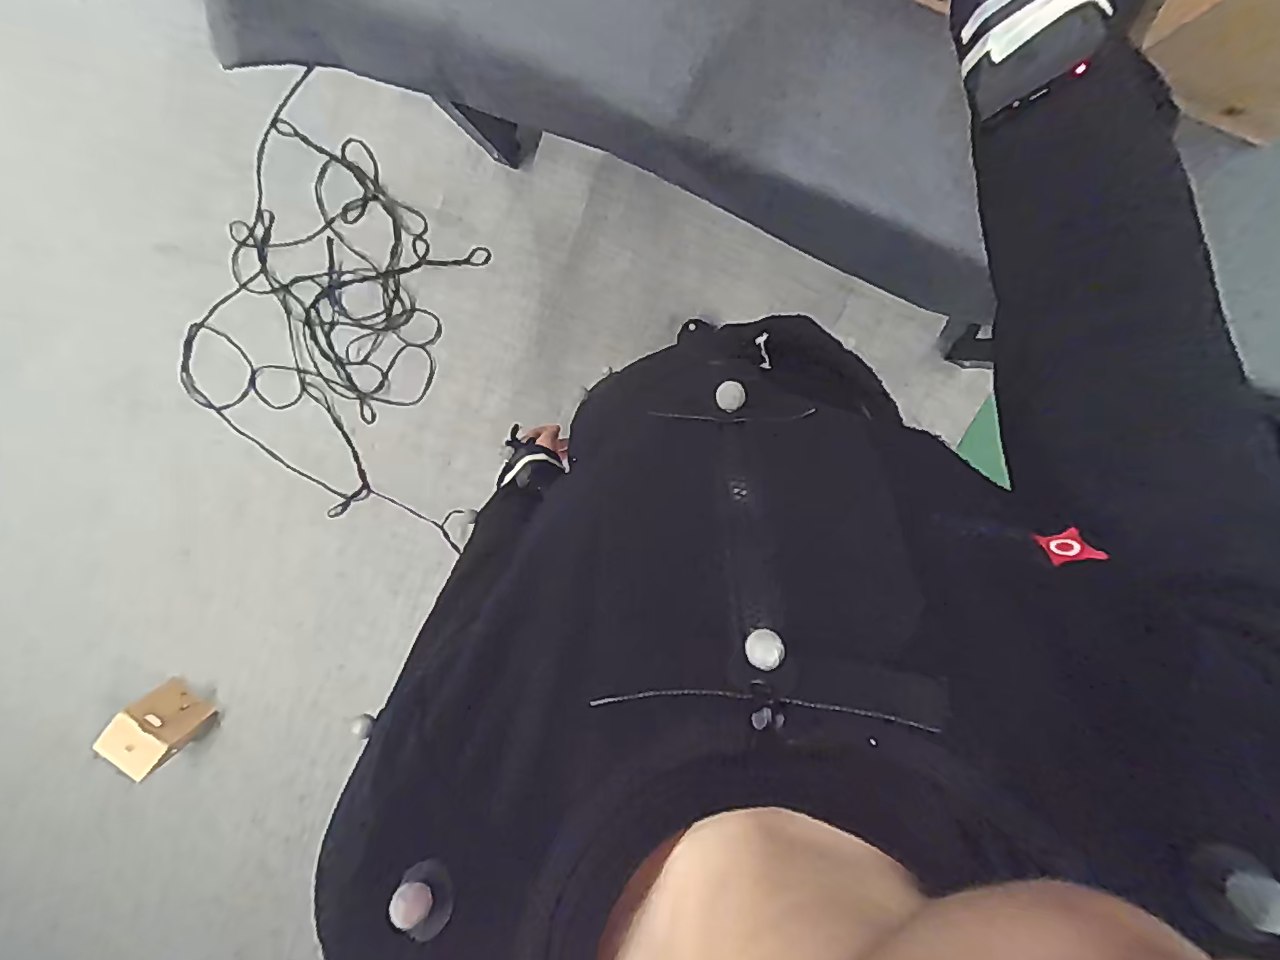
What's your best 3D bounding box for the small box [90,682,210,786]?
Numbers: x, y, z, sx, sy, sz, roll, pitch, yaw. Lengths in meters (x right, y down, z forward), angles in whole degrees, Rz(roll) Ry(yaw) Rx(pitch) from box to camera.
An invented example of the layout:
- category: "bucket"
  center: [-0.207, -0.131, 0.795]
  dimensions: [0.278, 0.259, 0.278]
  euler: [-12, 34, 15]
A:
- category: "small box"
  center: [-1.419, 0.734, 1.579]
  dimensions: [0.168, 0.176, 0.179]
  euler: [43, 103, -5]
